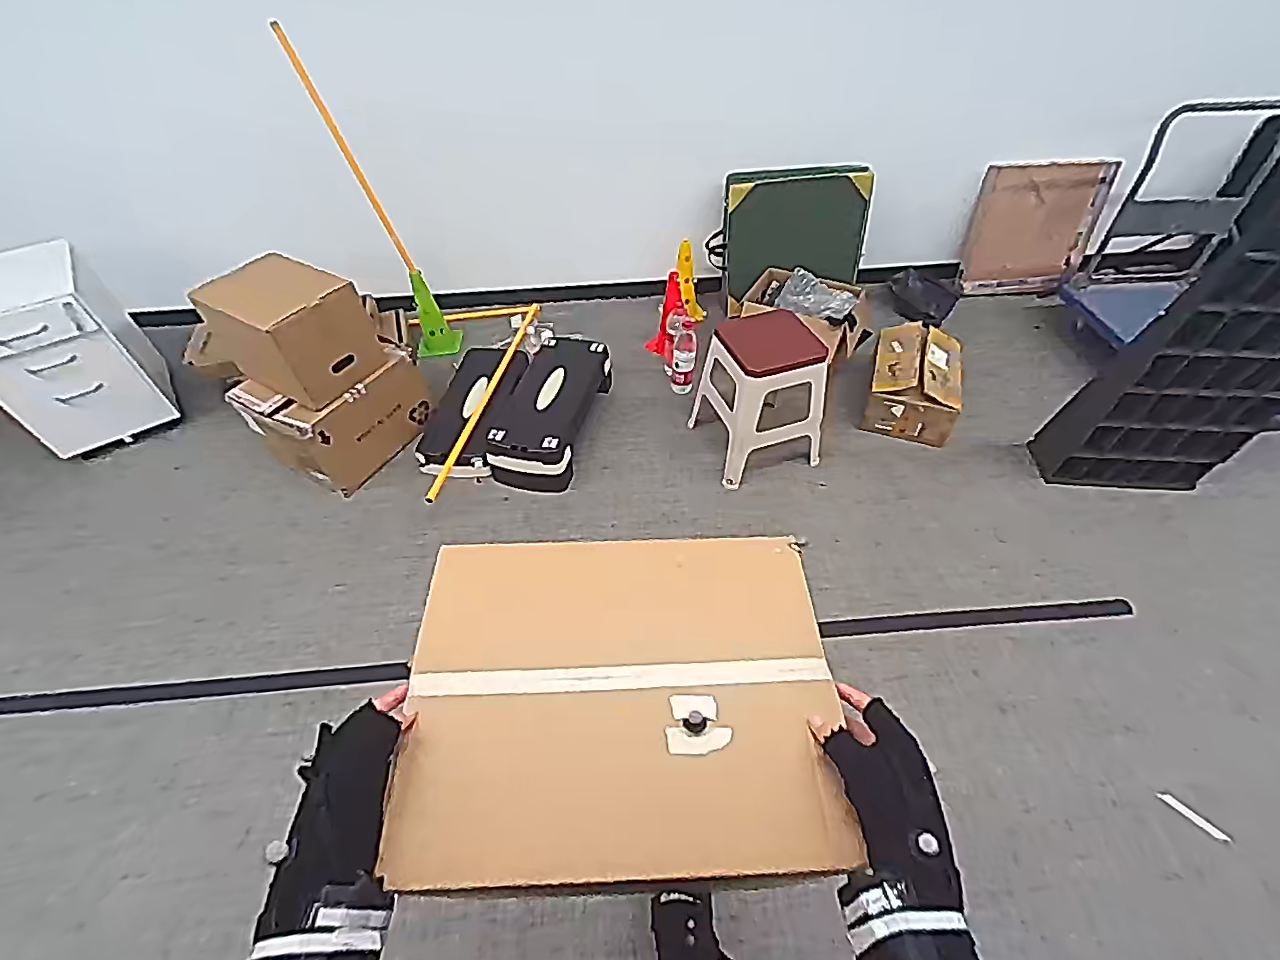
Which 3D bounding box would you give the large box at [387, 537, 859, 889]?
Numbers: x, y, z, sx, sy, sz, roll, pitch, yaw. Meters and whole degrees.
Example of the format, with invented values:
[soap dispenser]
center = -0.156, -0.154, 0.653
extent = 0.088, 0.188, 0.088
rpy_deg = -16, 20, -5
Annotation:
[large box]
center = -0.021, 0.285, 0.655
extent = 0.408, 0.320, 0.320
rpy_deg = -1, 51, -2
